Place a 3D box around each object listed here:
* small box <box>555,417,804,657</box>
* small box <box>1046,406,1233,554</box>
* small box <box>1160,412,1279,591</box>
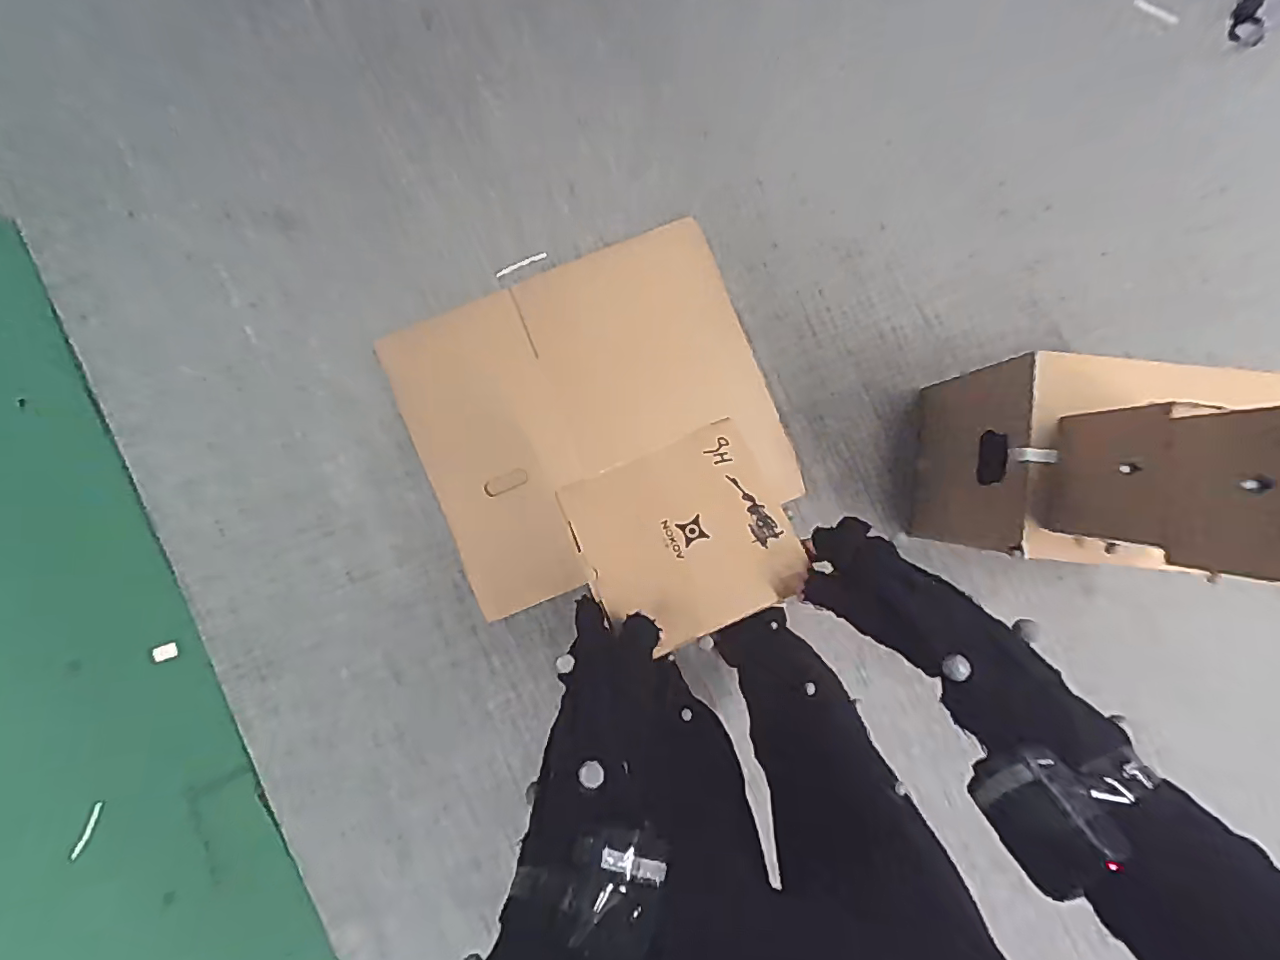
[{"bbox_3d":[0.037,0.070,0.556,0.179,0.176,0.168,-25,71,-7],"label":"small box"},{"bbox_3d":[0.687,0.008,0.720,0.168,0.176,0.179,8,91,0],"label":"small box"},{"bbox_3d":[0.691,0.022,0.555,0.168,0.176,0.179,1,91,0],"label":"small box"}]
